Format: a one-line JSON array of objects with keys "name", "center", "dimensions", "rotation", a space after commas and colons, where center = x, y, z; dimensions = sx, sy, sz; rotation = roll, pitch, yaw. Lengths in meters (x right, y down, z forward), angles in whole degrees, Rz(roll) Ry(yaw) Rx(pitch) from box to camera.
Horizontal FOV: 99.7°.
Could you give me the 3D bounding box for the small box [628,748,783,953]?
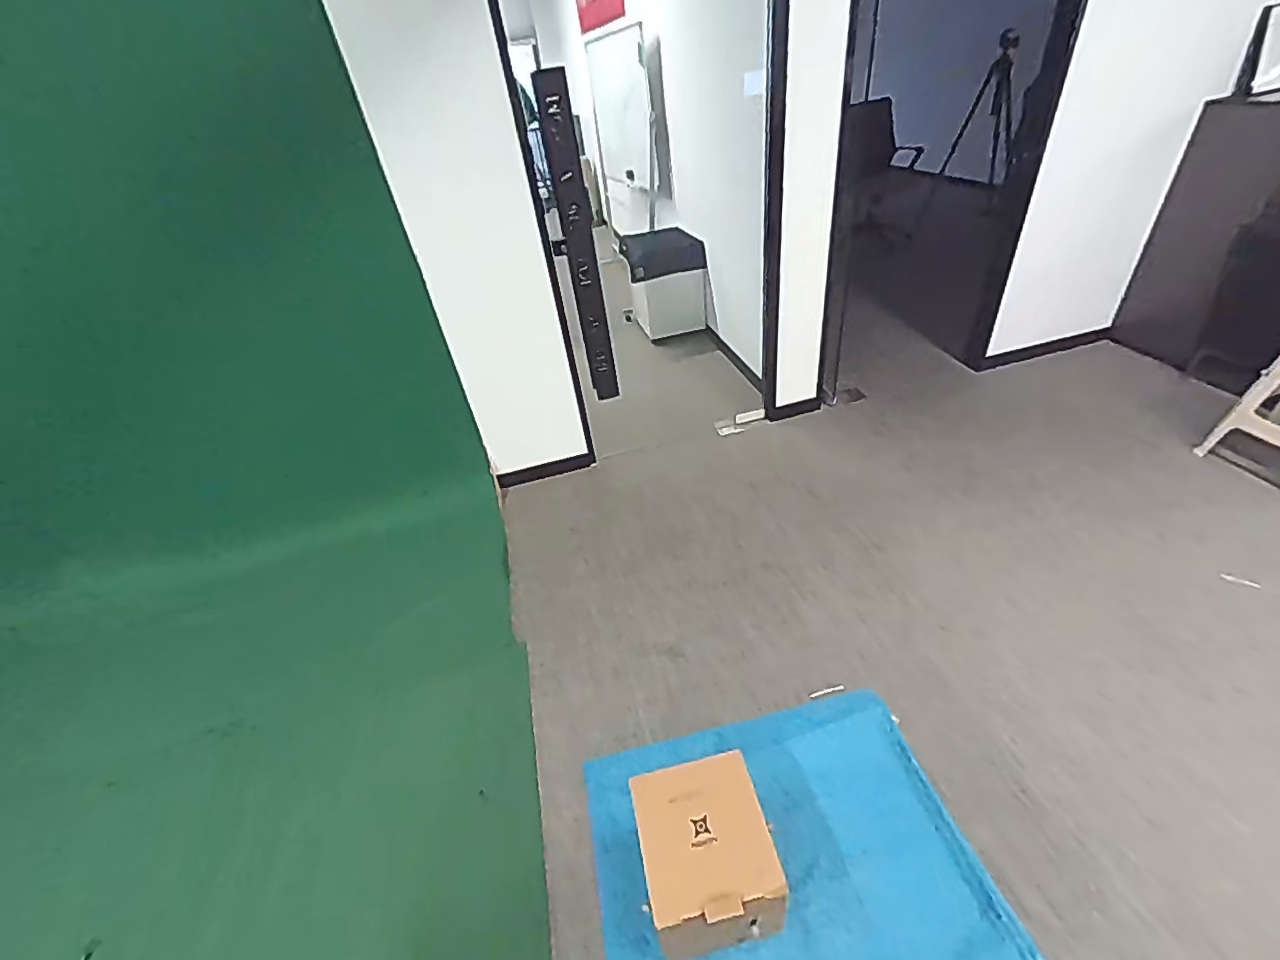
[{"name": "small box", "center": [0.084, 0.507, 0.737], "dimensions": [0.168, 0.176, 0.179], "rotation": [-11, 36, -5]}]
